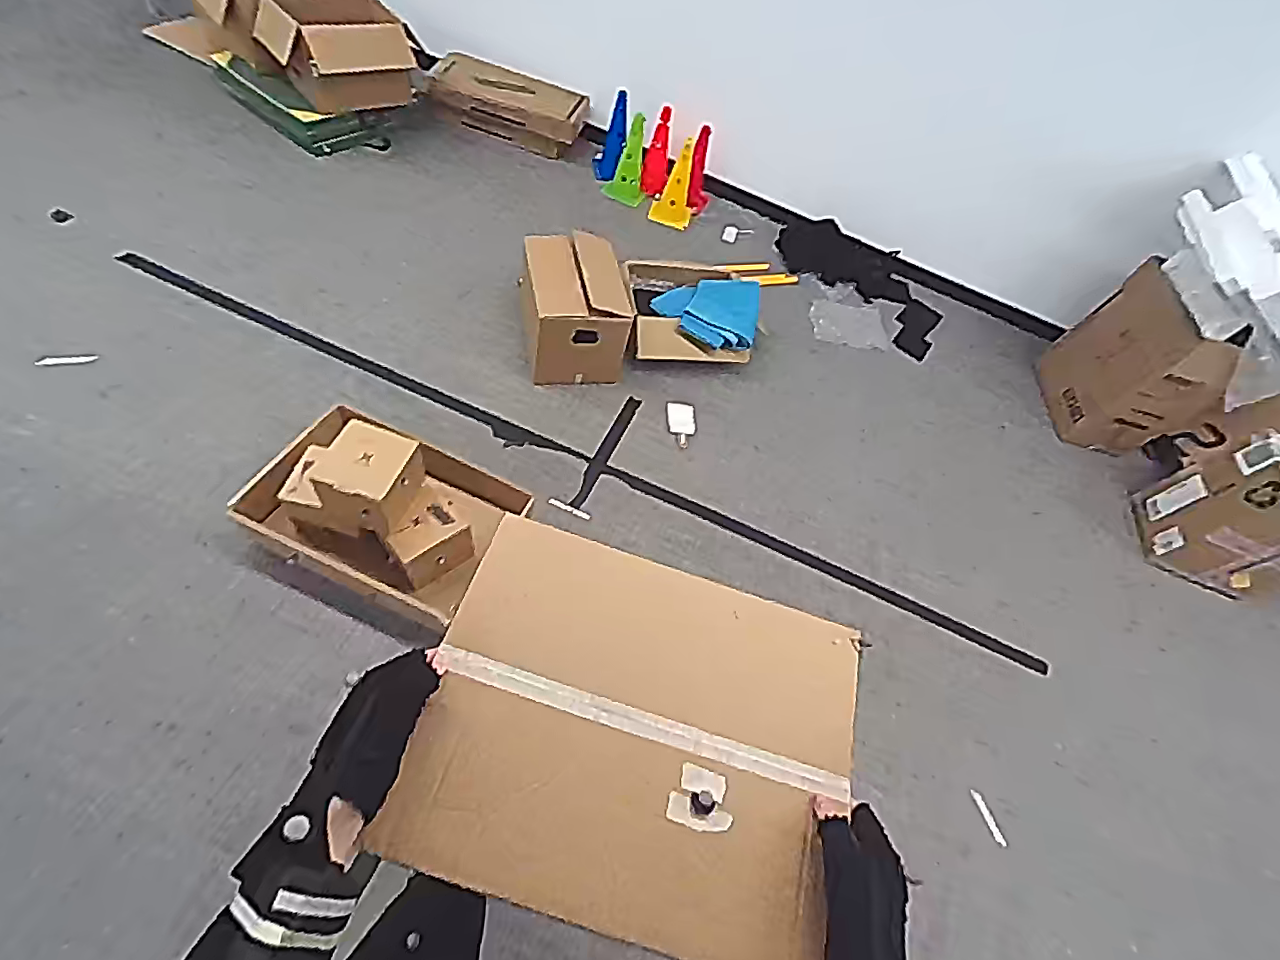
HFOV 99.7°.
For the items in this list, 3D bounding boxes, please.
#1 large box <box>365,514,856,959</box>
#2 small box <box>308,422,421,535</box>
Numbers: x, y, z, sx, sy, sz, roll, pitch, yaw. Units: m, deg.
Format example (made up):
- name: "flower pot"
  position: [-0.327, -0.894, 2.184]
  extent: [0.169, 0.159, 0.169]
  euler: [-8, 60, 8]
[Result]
- name: "large box"
  position: [-0.019, 0.290, 0.633]
  extent: [0.408, 0.320, 0.320]
  euler: [19, 60, 0]
- name: "small box"
  position: [-0.628, 0.003, 1.262]
  extent: [0.168, 0.176, 0.179]
  euler: [19, 53, -3]
